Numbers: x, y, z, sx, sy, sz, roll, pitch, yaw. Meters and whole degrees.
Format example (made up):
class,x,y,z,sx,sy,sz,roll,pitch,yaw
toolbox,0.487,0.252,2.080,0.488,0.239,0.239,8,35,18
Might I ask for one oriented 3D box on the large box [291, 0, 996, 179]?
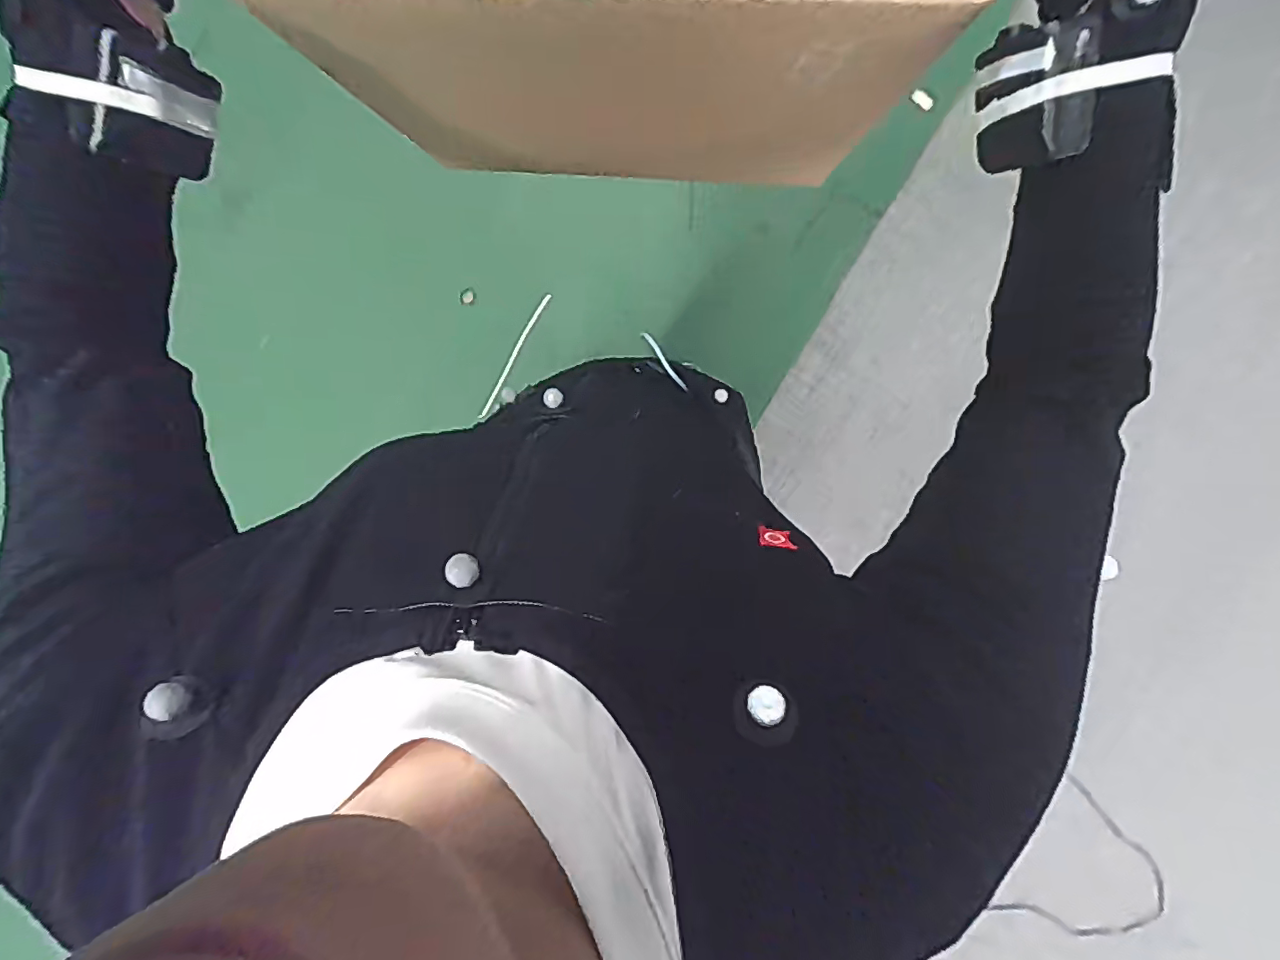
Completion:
class,x,y,z,sx,sy,sz,roll,pitch,yaw
large box,0.003,-0.439,0.395,0.408,0.320,0.320,4,104,1
